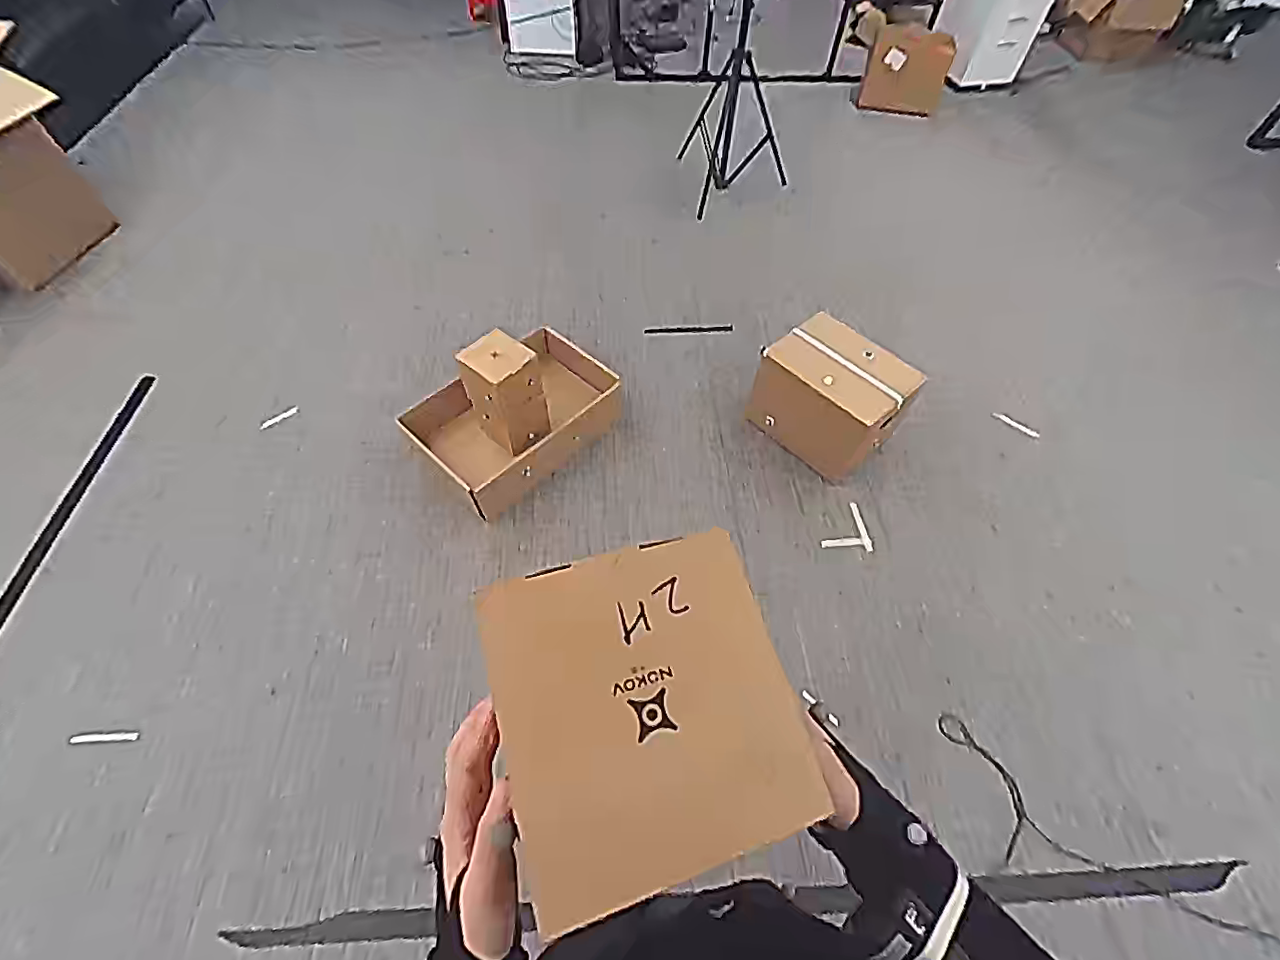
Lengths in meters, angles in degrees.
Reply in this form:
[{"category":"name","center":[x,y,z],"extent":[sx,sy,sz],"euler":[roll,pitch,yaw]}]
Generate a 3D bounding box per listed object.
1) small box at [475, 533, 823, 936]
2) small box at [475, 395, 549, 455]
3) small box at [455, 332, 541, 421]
[{"category":"small box","center":[-0.011,0.160,0.381],"extent":[0.168,0.176,0.179],"euler":[-12,68,-17]},{"category":"small box","center":[-0.416,-0.212,1.752],"extent":[0.179,0.176,0.168],"euler":[38,63,21]},{"category":"small box","center":[-0.417,-0.302,1.617],"extent":[0.179,0.176,0.168],"euler":[33,60,20]}]
